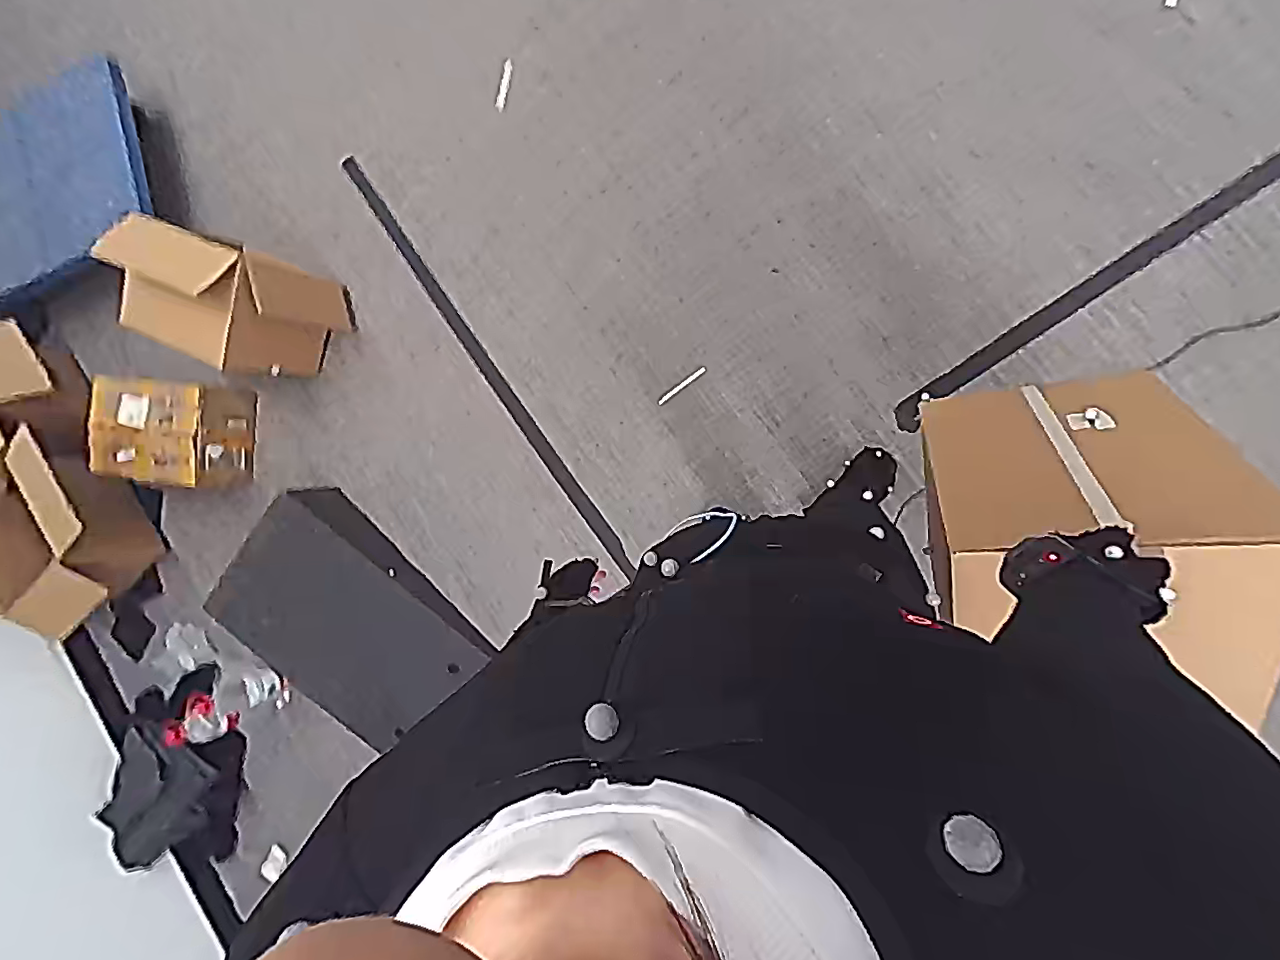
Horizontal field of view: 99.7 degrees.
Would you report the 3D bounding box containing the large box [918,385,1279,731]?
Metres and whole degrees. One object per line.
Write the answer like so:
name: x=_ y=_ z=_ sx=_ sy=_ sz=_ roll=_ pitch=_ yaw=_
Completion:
large box: x=0.612 y=0.096 z=0.806 sx=0.320 sy=0.408 sz=0.320 roll=-4 pitch=121 yaw=23
